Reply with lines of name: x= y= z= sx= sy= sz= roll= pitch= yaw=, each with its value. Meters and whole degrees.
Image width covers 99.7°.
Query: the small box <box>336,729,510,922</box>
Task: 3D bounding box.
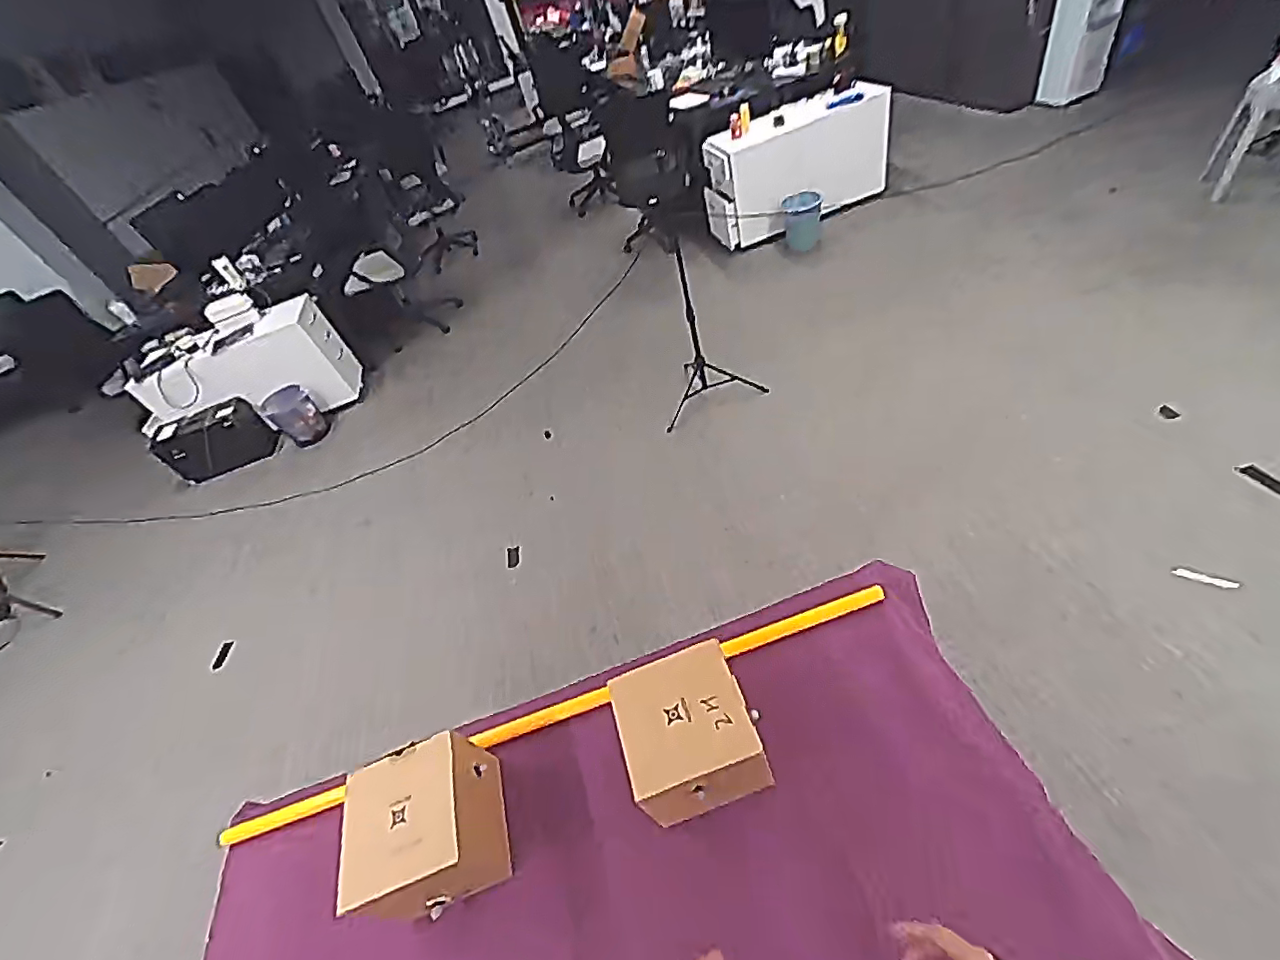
small box: x=-0.306 y=0.504 z=0.789 sx=0.168 sy=0.176 sz=0.179 roll=-23 pitch=45 yaw=-2

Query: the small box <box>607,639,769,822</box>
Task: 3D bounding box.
small box: x=0.071 y=0.367 z=0.785 sx=0.179 sy=0.176 sz=0.168 roll=-21 pitch=46 yaw=-1
